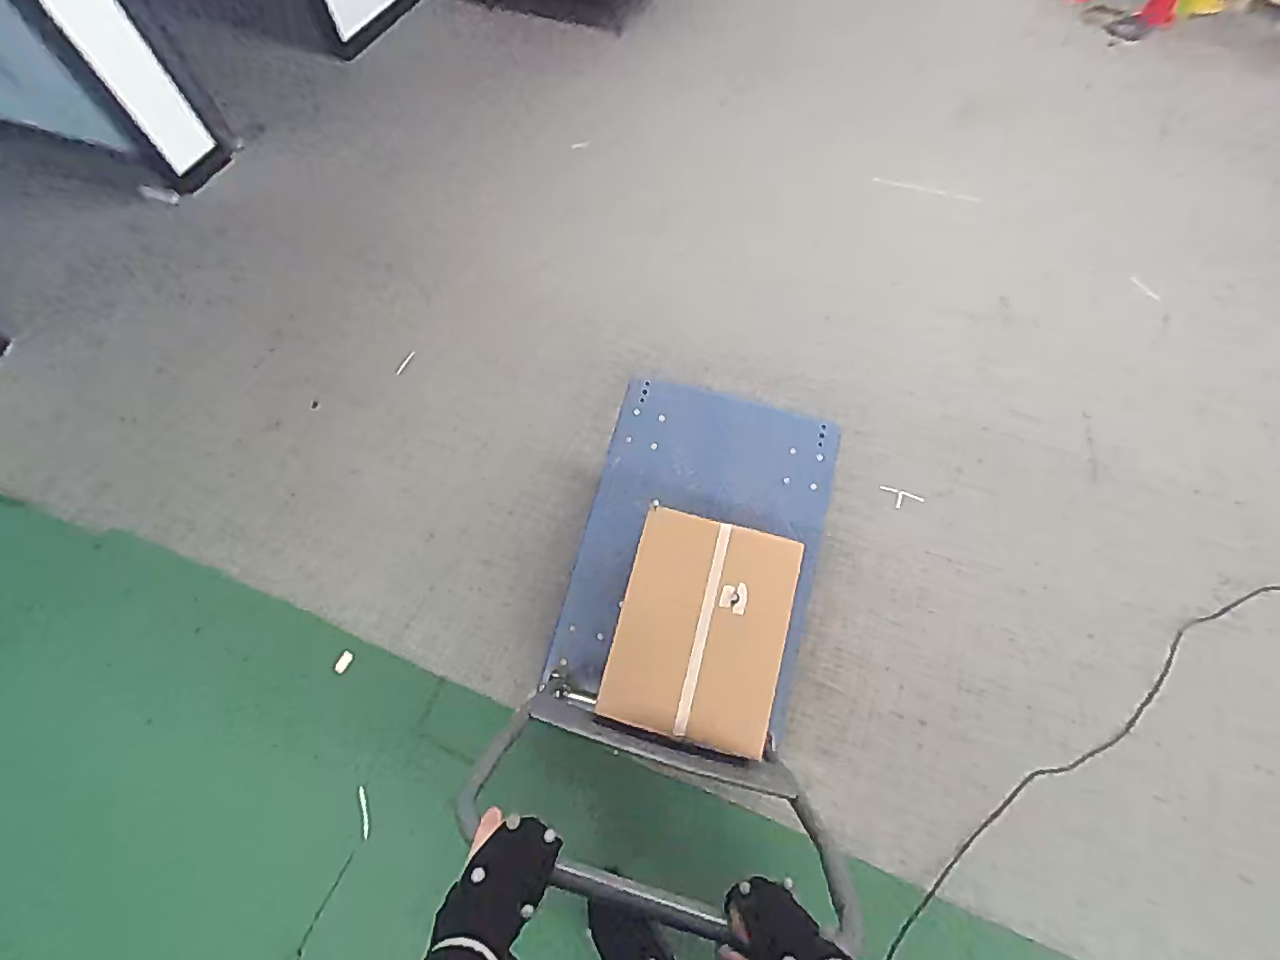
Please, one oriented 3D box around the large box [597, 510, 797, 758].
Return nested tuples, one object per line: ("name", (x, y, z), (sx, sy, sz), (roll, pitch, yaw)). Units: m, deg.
("large box", (0.118, 0.320, 1.171), (0.320, 0.320, 0.408), (15, 76, 5))
